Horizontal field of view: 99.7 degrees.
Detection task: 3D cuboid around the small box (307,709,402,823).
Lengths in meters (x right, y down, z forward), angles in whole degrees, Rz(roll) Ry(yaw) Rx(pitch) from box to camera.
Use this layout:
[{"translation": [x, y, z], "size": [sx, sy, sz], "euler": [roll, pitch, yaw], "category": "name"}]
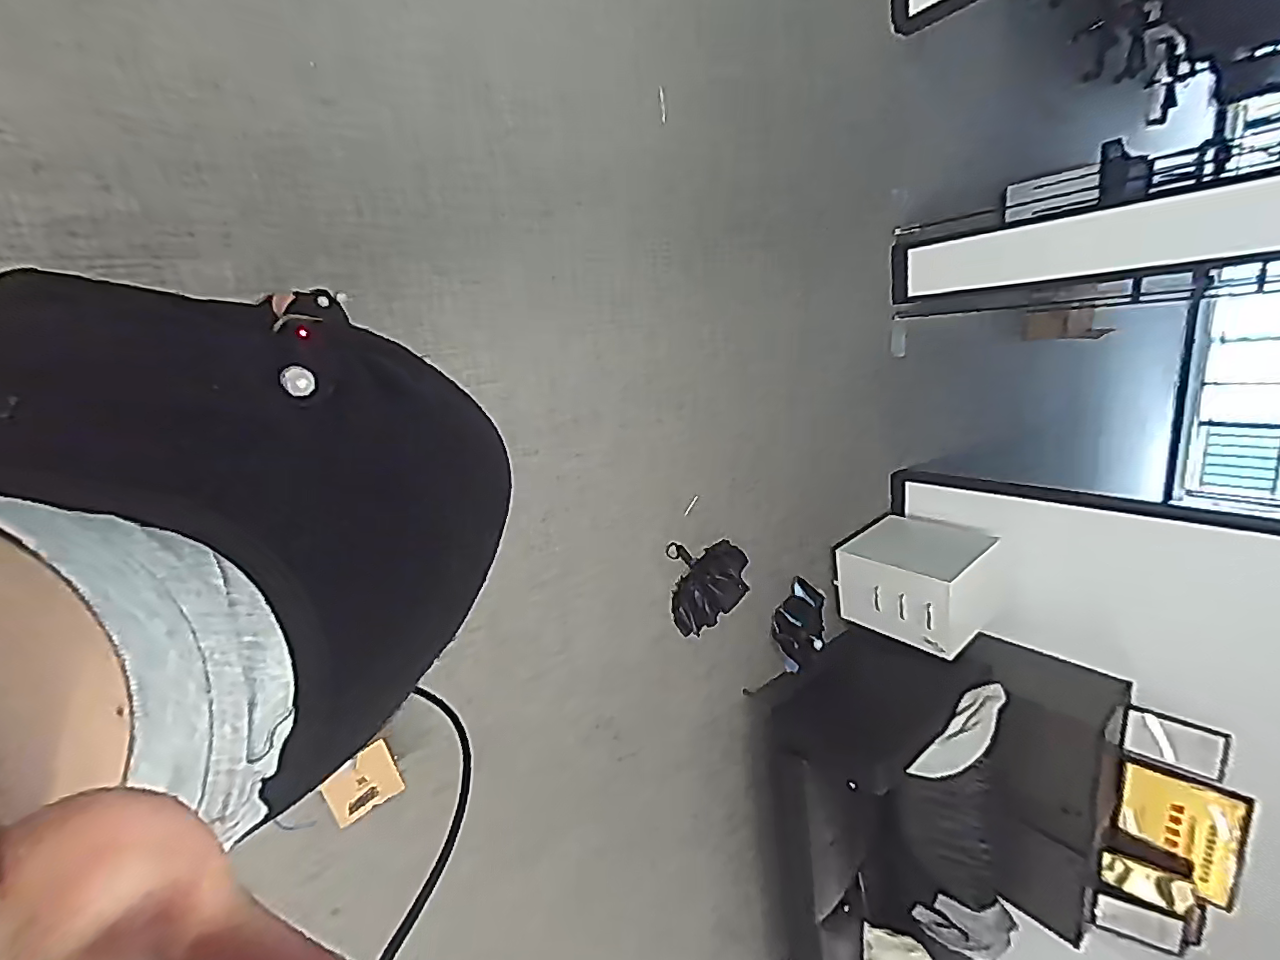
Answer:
[{"translation": [-0.771, 0.761, 1.457], "size": [0.168, 0.176, 0.179], "euler": [-26, 112, -32], "category": "small box"}]
